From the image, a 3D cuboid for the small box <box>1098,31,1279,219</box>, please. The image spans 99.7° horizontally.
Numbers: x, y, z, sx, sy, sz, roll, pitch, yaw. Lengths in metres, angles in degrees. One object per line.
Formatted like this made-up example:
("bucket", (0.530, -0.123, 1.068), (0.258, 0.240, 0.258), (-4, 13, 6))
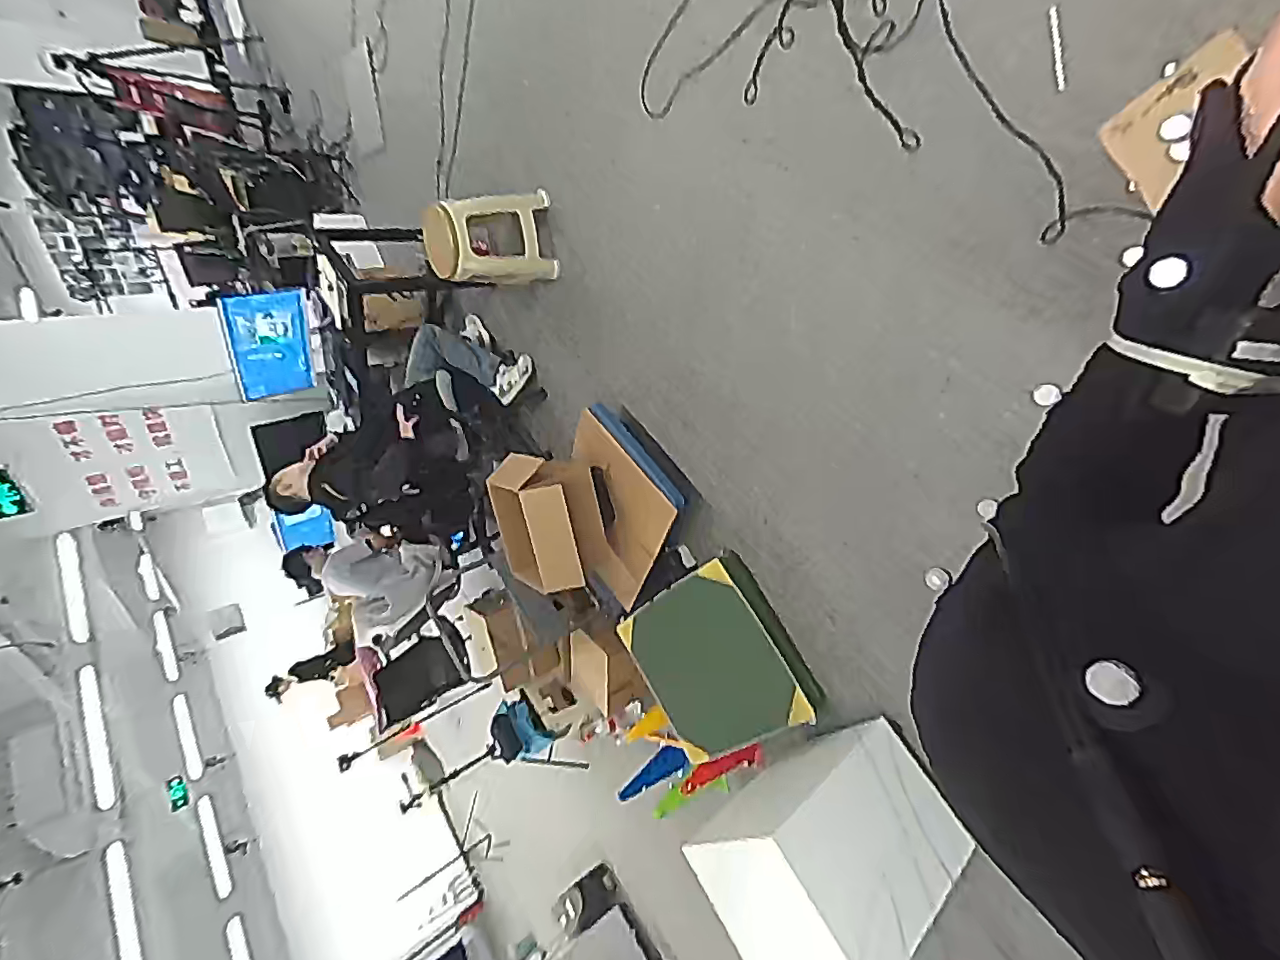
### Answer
("small box", (0.871, -0.535, 0.837), (0.168, 0.176, 0.179), (-38, 74, 53))
